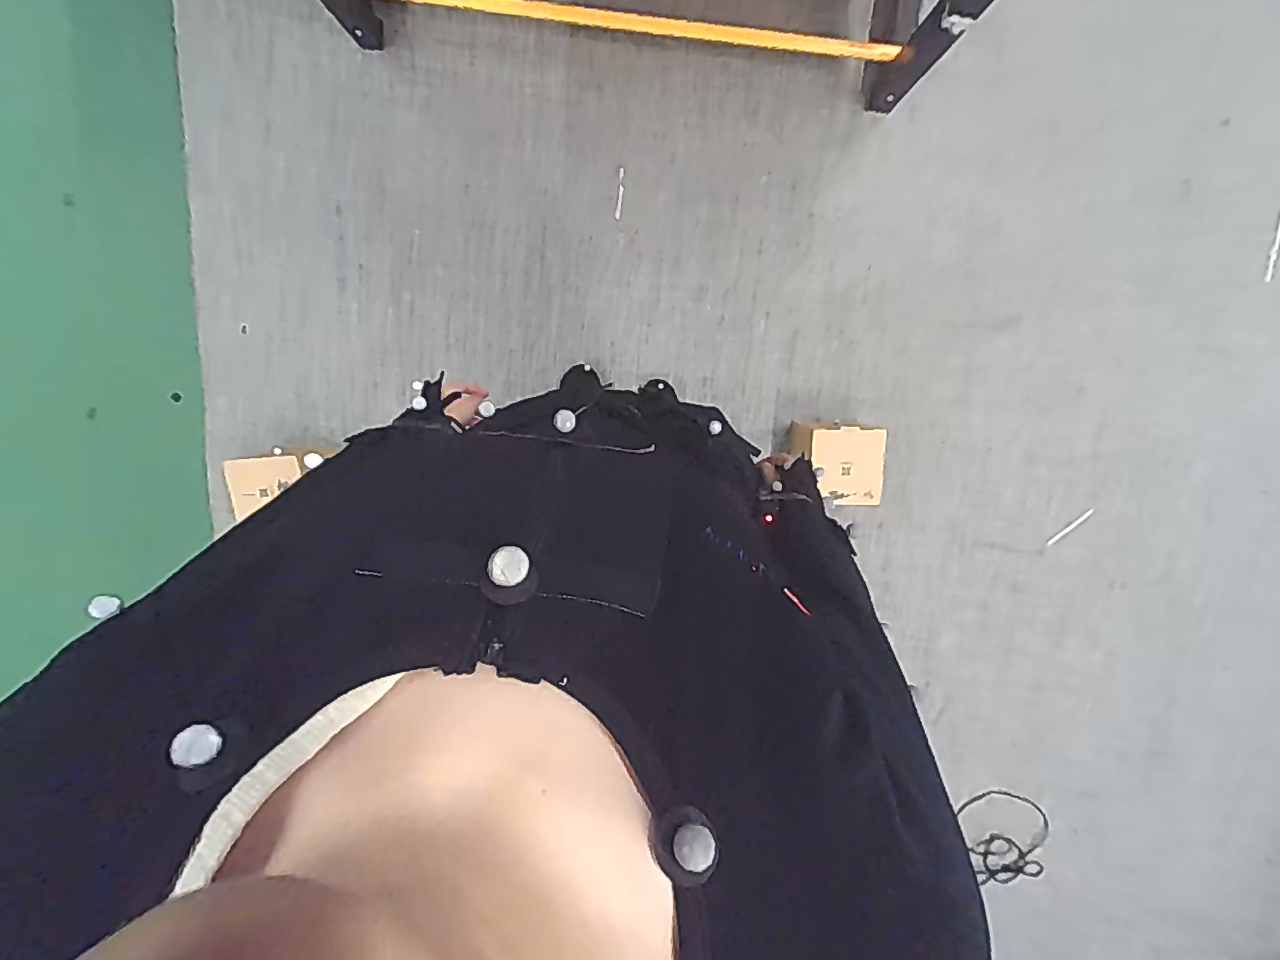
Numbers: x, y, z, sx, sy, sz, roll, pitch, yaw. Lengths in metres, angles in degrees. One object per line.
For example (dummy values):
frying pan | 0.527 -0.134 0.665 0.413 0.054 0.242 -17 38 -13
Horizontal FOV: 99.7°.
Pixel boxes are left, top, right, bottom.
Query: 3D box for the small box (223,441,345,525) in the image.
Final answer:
small box | -0.836 0.001 1.294 0.179 0.176 0.168 -4 101 2

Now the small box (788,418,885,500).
small box | 0.456 -0.055 1.279 0.168 0.176 0.179 0 101 0
